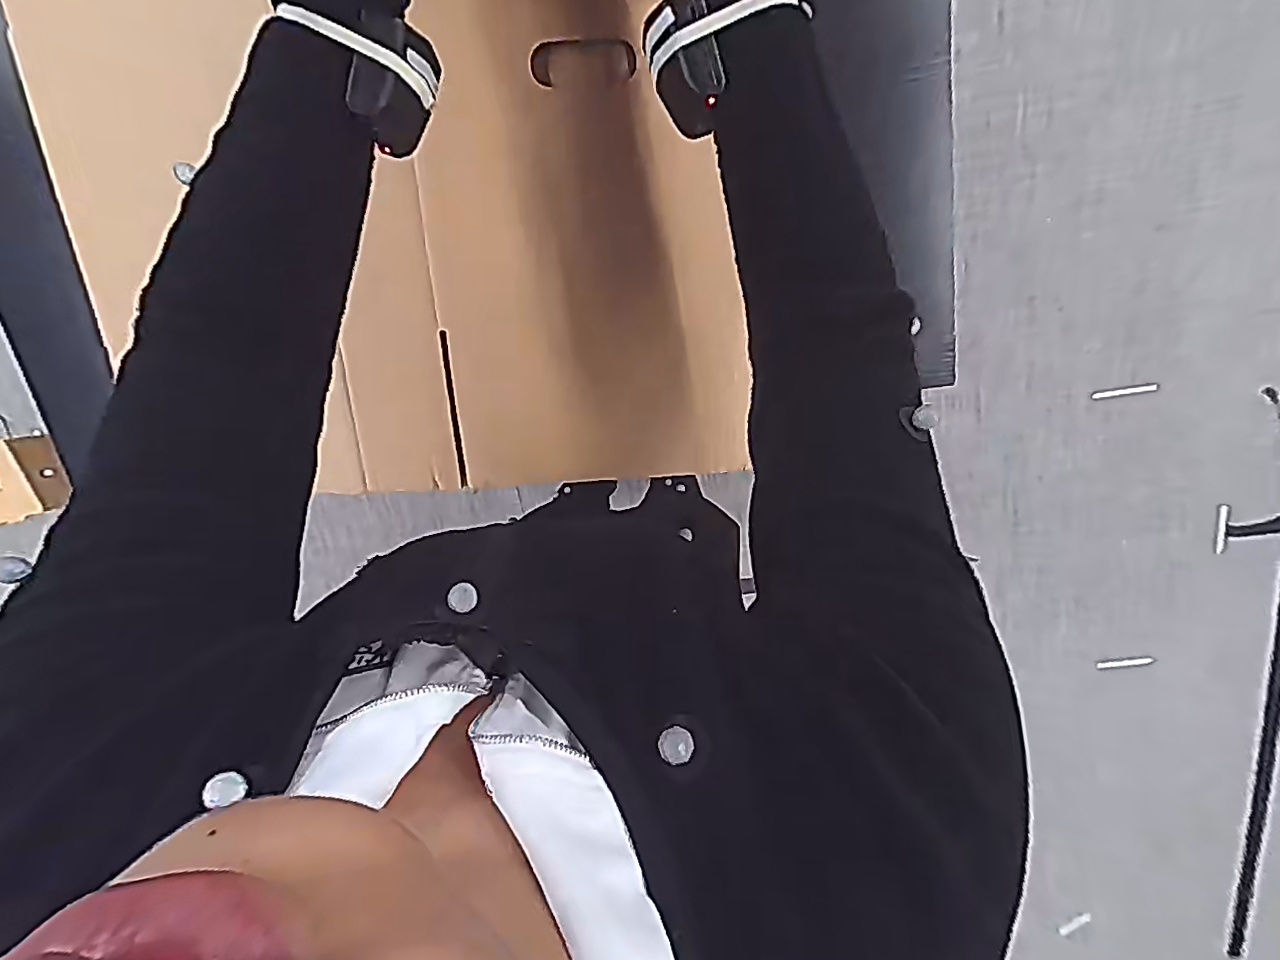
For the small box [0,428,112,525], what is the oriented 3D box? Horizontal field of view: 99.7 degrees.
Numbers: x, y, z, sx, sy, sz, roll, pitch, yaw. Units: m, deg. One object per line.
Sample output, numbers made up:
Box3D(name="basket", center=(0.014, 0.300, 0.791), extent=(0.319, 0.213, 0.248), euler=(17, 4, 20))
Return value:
Box3D(name="small box", center=(-1.439, -0.013, 1.290), extent=(0.168, 0.176, 0.179), euler=(-15, 103, 6))
